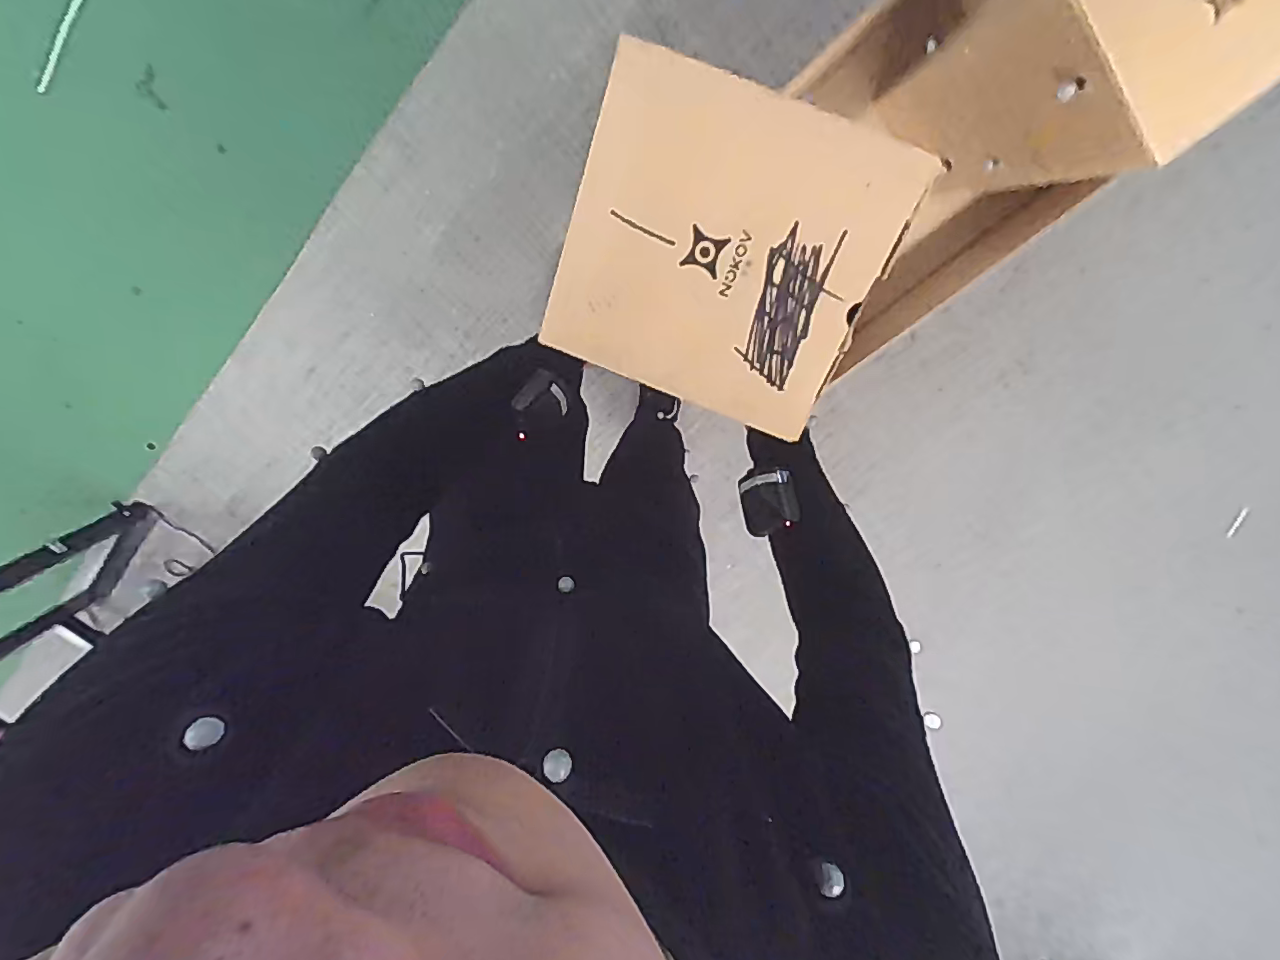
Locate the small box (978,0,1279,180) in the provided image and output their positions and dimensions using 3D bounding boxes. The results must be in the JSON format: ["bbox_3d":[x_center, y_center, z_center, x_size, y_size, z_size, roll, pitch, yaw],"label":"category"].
[{"bbox_3d":[0.457,-0.403,0.491,0.168,0.176,0.179,-38,107,19],"label":"small box"}]

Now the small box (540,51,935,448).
[{"bbox_3d":[0.055,-0.149,0.377,0.179,0.176,0.168,21,114,0],"label":"small box"}]
